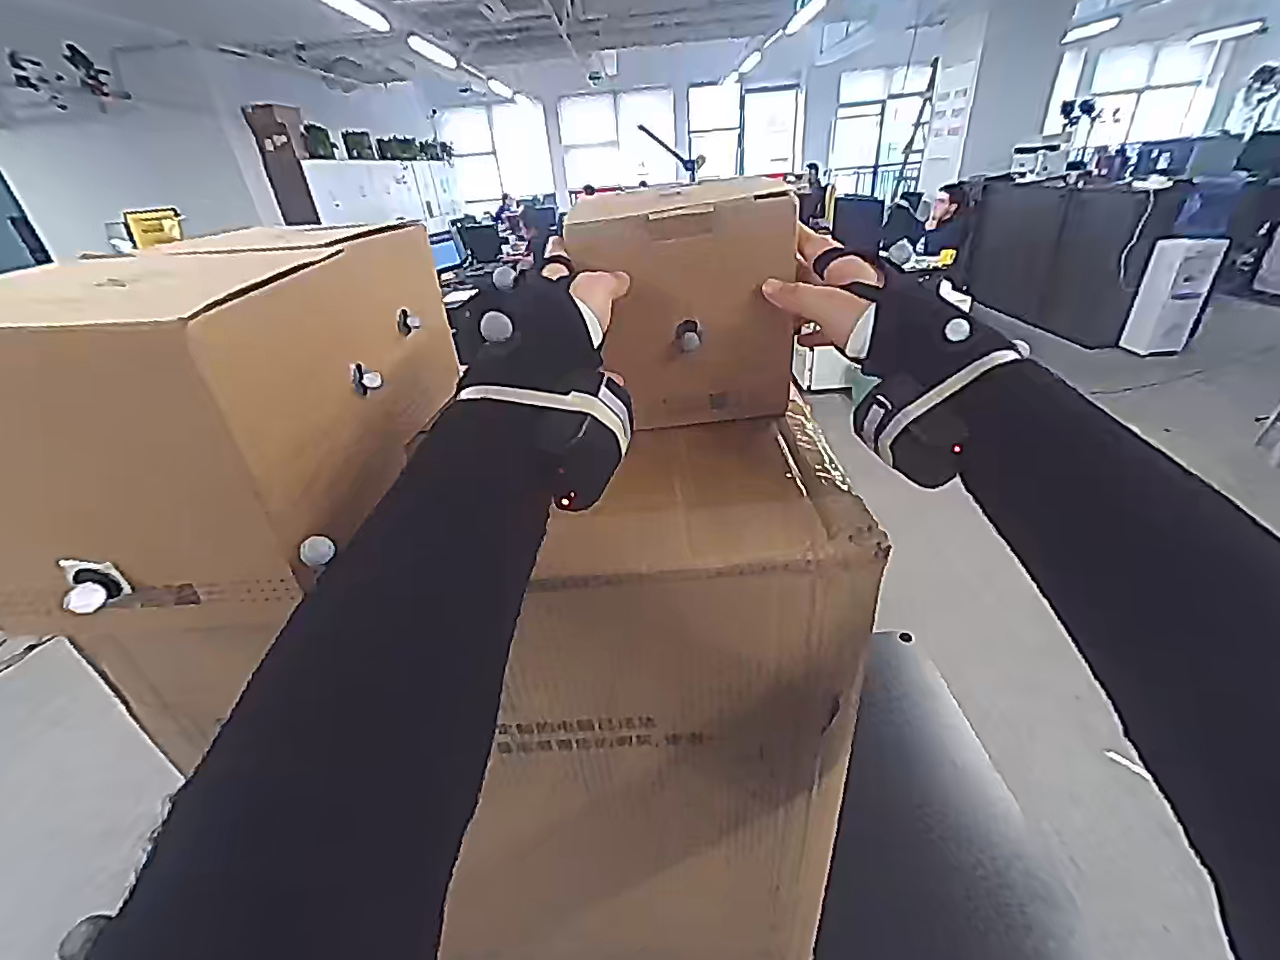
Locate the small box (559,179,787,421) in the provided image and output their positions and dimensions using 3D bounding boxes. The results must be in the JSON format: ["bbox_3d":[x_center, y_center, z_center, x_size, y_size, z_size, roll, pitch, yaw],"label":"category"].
[{"bbox_3d":[0.030,-0.161,0.489,0.168,0.176,0.179,-6,33,1],"label":"small box"}]
